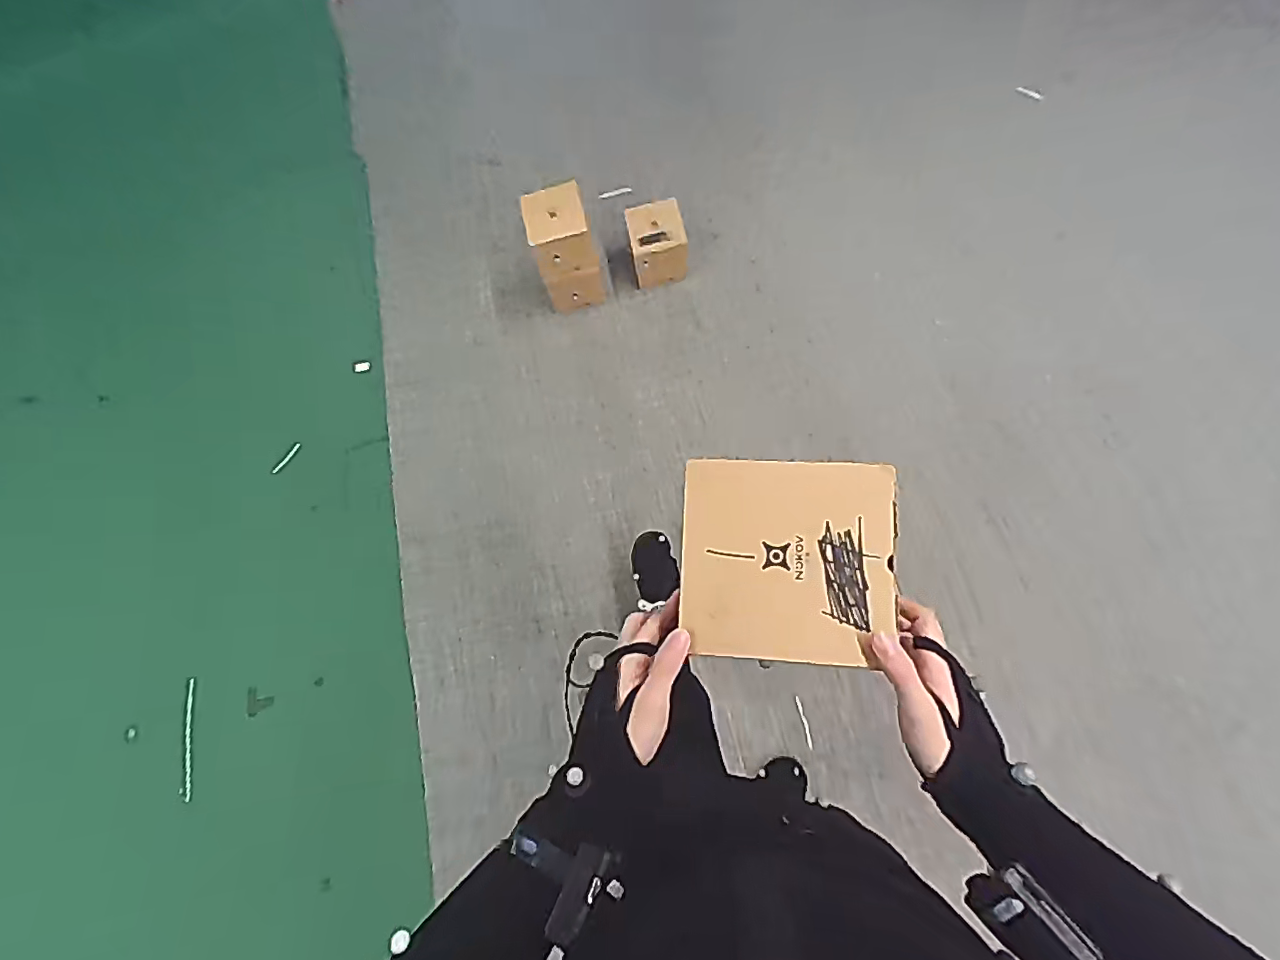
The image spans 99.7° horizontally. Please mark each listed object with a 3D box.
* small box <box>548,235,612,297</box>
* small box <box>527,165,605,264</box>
[{"bbox_3d":[-0.188,-0.689,1.671,0.168,0.176,0.179,-10,73,3],"label":"small box"},{"bbox_3d":[-0.202,-0.733,1.516,0.168,0.176,0.179,-13,73,3],"label":"small box"}]
